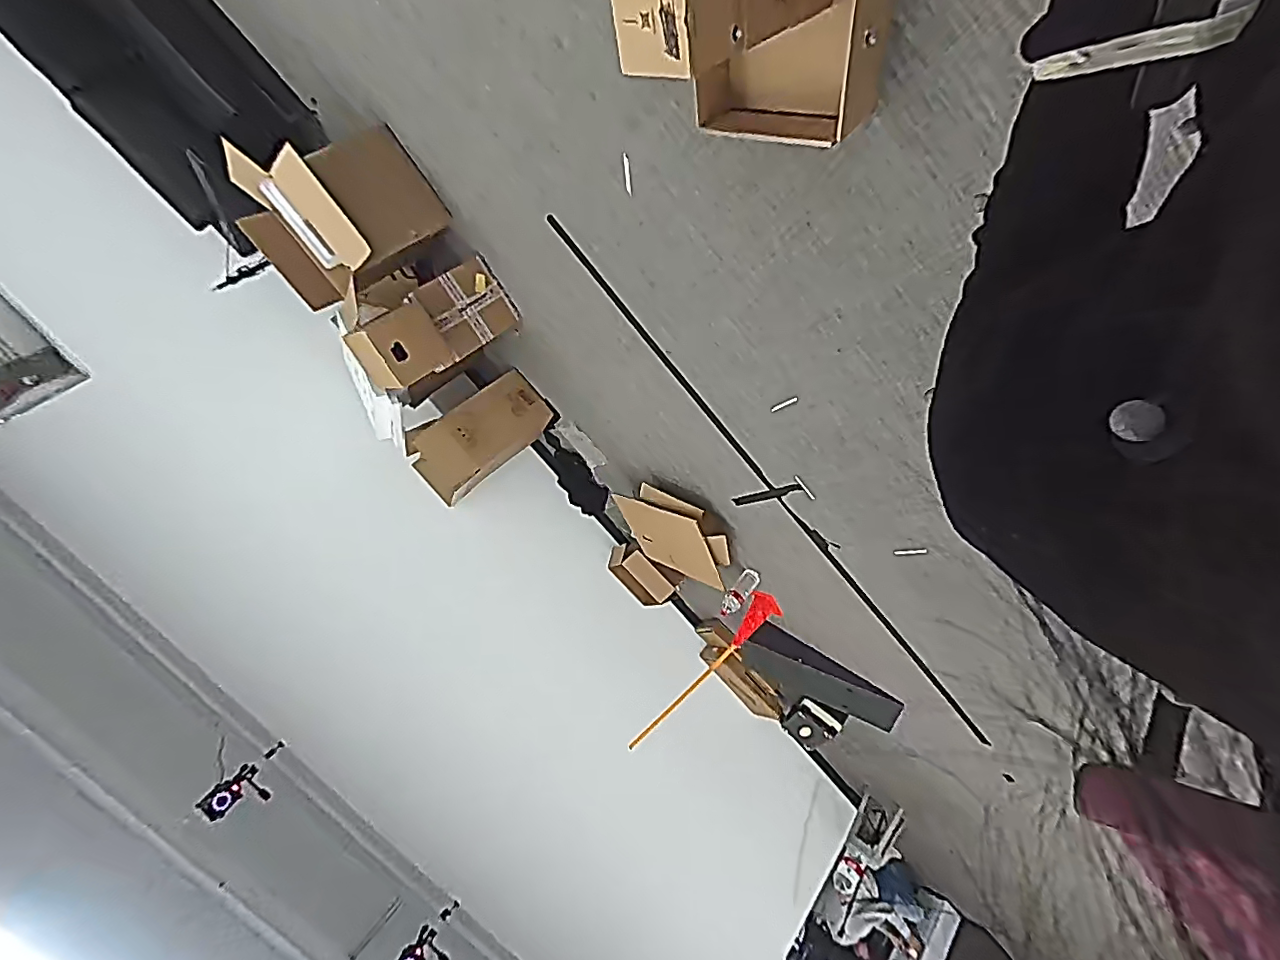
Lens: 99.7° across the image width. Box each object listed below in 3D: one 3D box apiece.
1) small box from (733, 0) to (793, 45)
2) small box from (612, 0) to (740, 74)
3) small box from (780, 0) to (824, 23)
[{"bbox_3d":[0.179,-0.966,1.038,0.179,0.176,0.168,30,152,29],"label":"small box"},{"bbox_3d":[0.070,-0.862,0.974,0.179,0.176,0.168,31,152,31],"label":"small box"},{"bbox_3d":[0.285,-1.068,1.106,0.179,0.176,0.168,31,152,28],"label":"small box"}]
